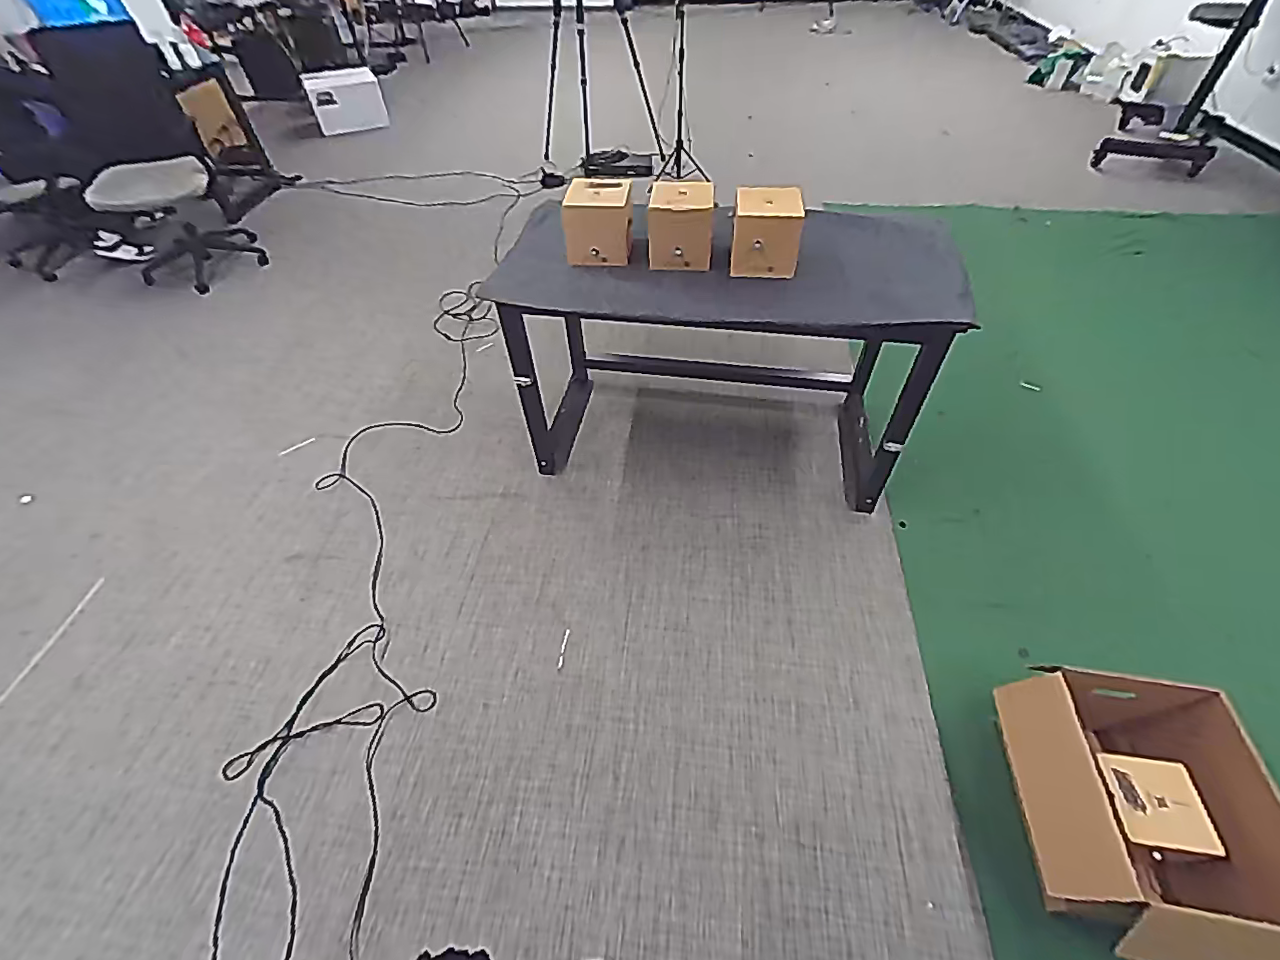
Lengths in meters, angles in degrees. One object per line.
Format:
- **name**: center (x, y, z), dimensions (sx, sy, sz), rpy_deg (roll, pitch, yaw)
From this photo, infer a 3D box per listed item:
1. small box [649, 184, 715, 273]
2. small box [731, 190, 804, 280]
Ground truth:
- **small box**: center (0.114, -0.685, 1.473), dimensions (0.168, 0.176, 0.179), rpy_deg (3, 49, 5)
- **small box**: center (0.332, -0.648, 1.434), dimensions (0.168, 0.176, 0.179), rpy_deg (4, 48, 6)
